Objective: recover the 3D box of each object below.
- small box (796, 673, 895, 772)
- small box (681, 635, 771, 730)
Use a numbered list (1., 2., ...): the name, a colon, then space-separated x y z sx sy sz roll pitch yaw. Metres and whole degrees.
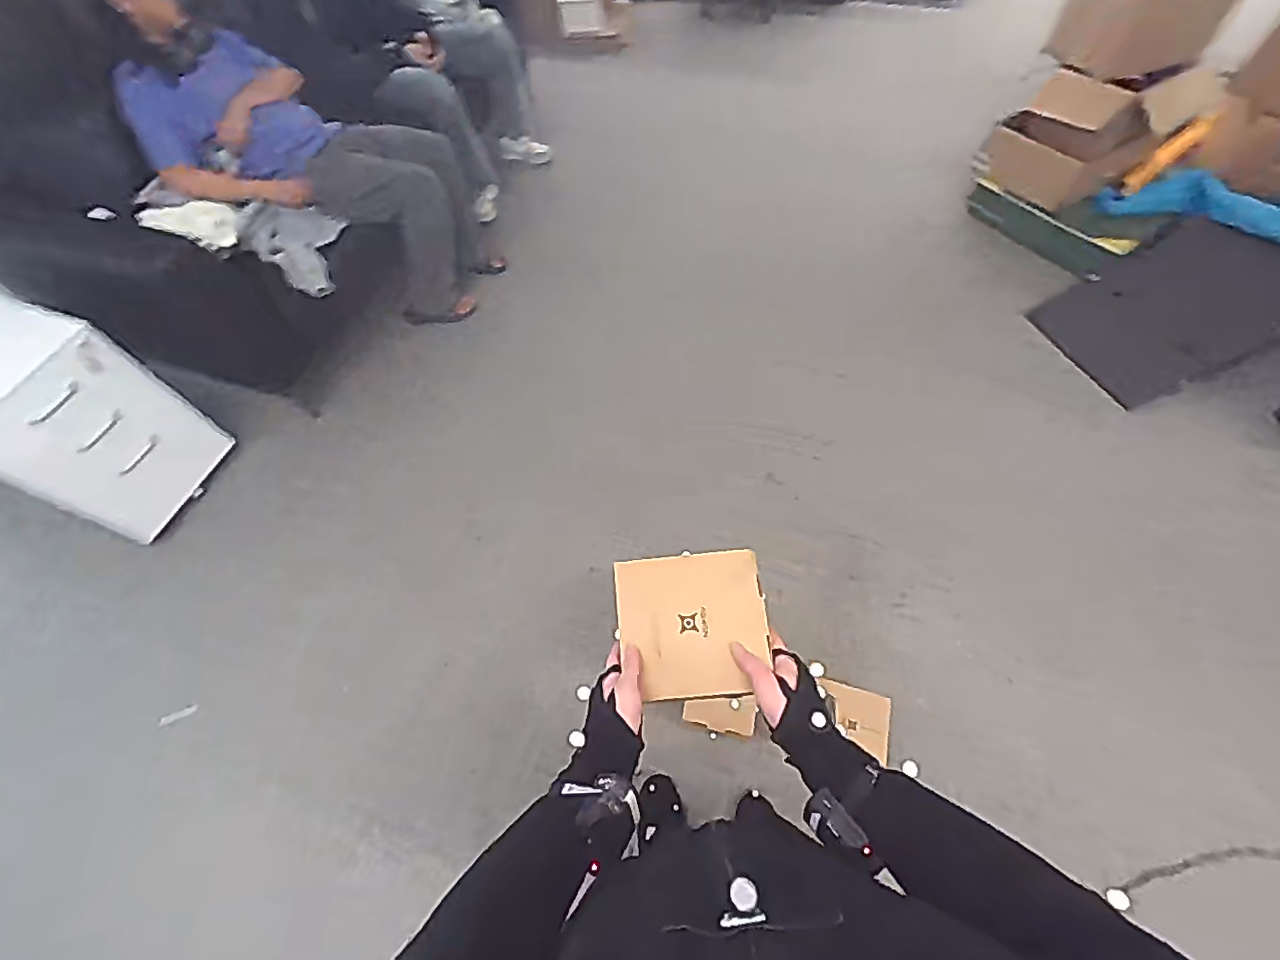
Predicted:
1. small box: 0.486 0.587 1.301 0.179 0.176 0.168 16 65 16
2. small box: 0.214 0.513 1.359 0.179 0.176 0.168 -17 59 -3
